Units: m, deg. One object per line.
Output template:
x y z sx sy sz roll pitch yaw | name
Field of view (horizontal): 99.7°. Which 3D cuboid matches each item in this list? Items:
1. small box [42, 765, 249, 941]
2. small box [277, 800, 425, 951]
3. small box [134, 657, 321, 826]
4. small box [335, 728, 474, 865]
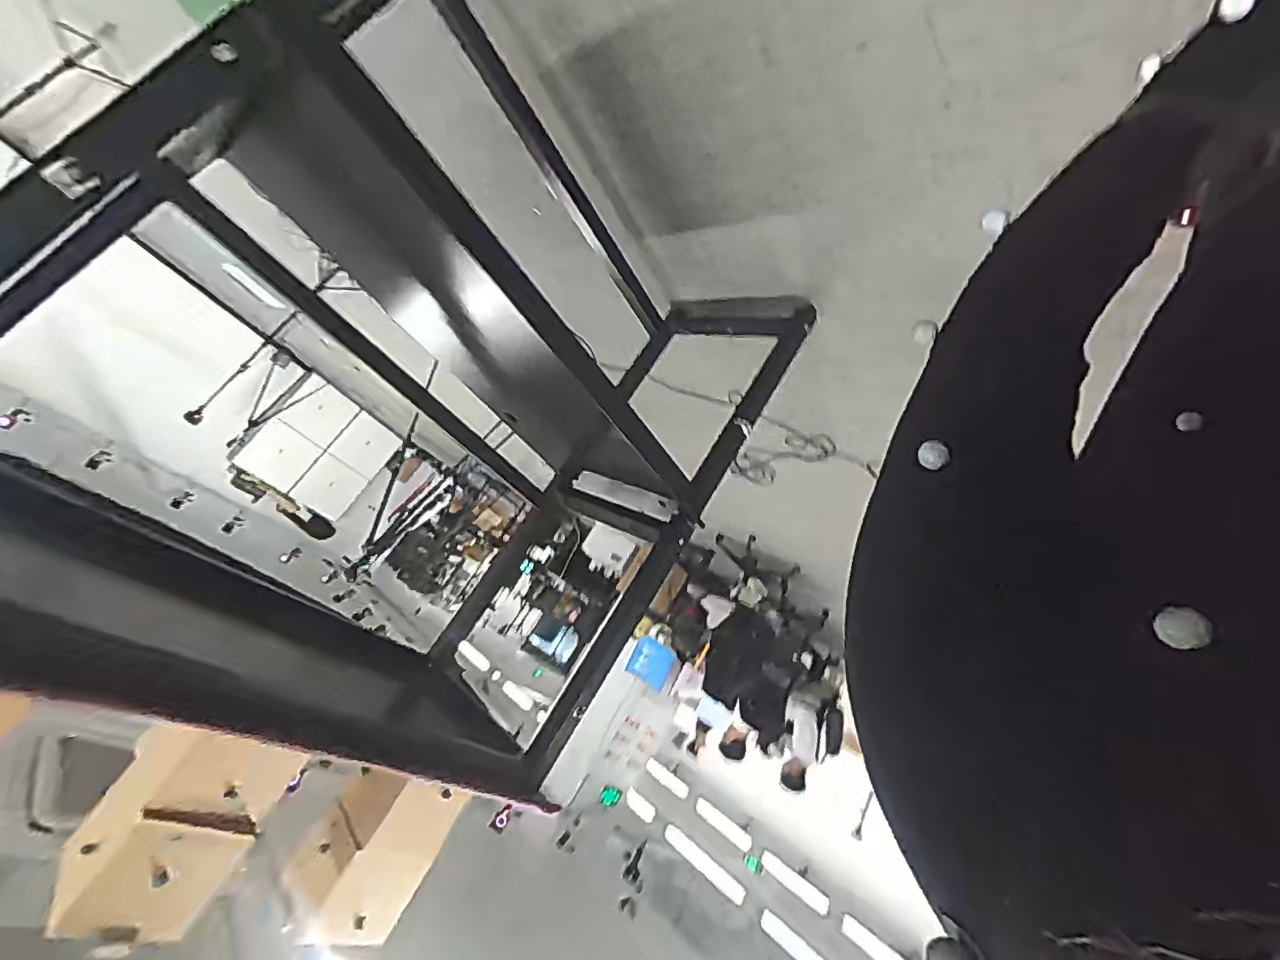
-0.746 0.557 0.836 0.179 0.176 0.168 15 155 48 | small box
-0.554 0.760 1.048 0.168 0.176 0.179 14 155 48 | small box
-0.667 0.422 0.885 0.168 0.176 0.179 19 157 44 | small box
-0.469 0.625 1.090 0.179 0.176 0.168 13 155 47 | small box
